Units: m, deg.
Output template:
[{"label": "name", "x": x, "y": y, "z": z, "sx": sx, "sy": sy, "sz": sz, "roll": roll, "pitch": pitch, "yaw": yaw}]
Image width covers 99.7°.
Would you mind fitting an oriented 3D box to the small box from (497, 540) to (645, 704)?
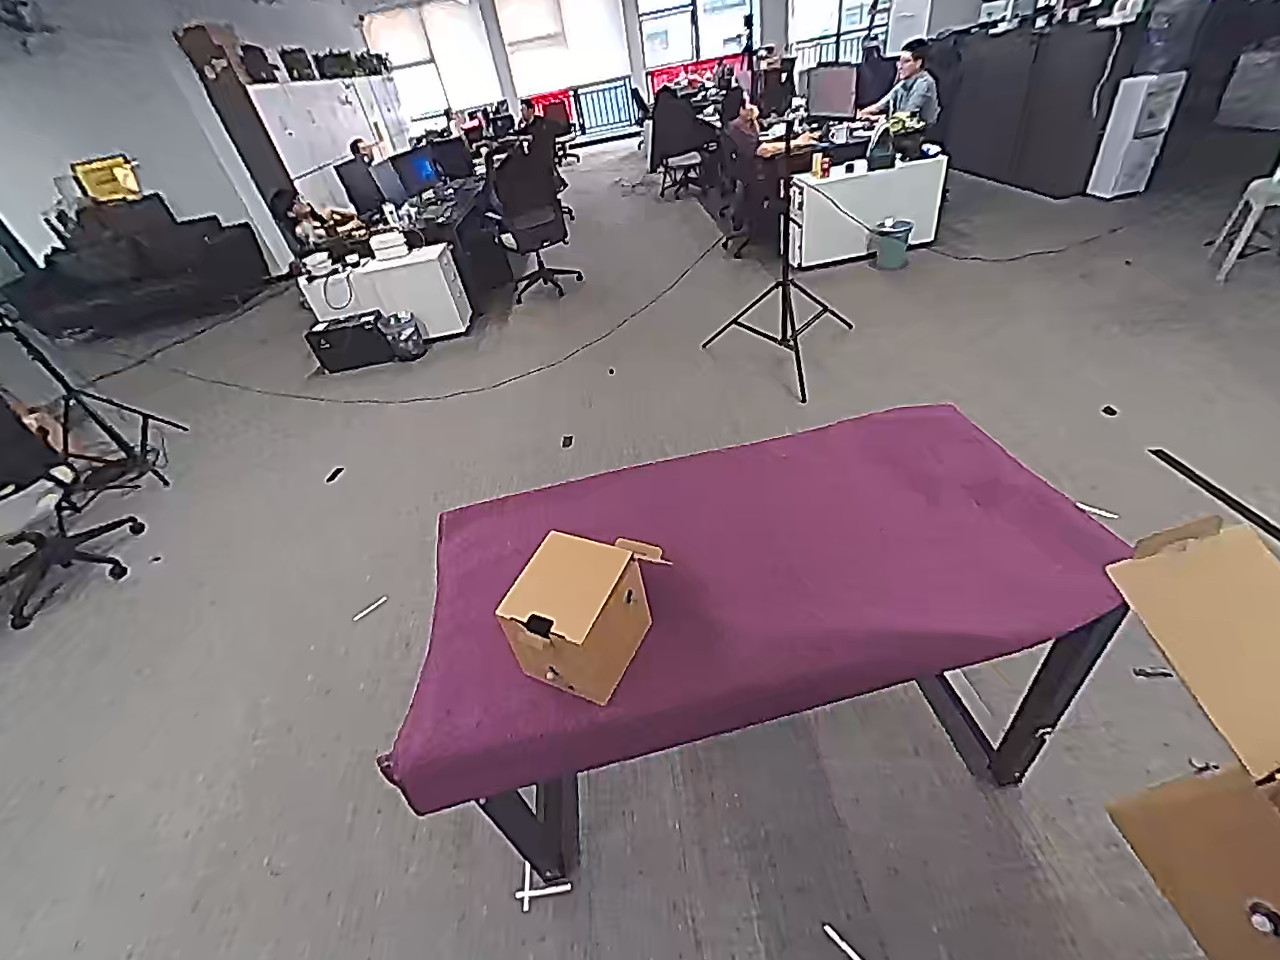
[{"label": "small box", "x": -0.102, "y": 0.233, "z": 0.904, "sx": 0.168, "sy": 0.176, "sz": 0.179, "roll": 10, "pitch": 42, "yaw": 27}]
